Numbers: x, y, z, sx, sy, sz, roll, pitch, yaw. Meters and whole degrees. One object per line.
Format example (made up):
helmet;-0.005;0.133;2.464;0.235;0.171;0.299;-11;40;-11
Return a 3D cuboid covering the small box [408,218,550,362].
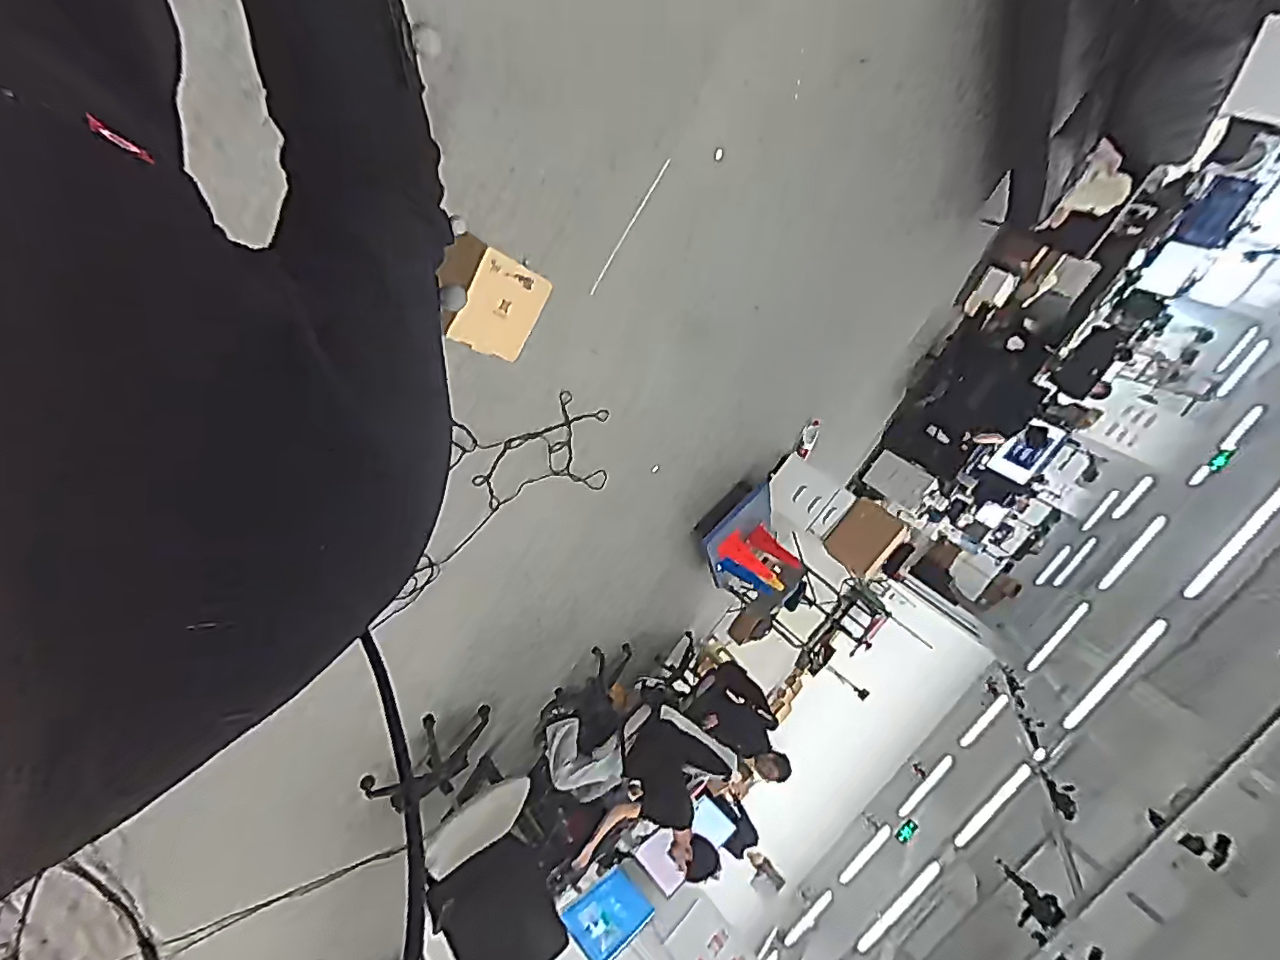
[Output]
small box;-0.312;-0.359;1.032;0.168;0.176;0.179;10;115;-57
